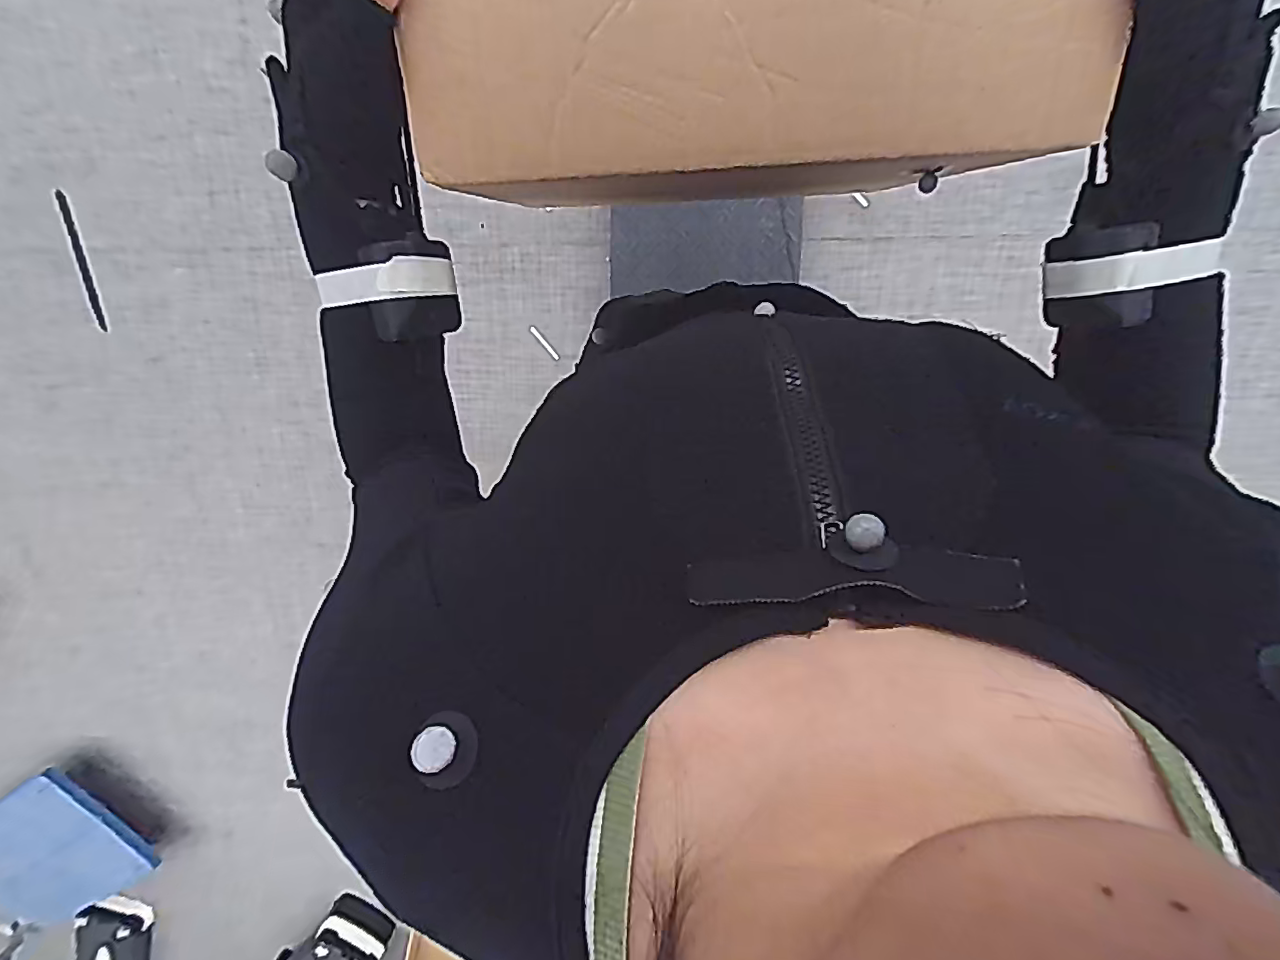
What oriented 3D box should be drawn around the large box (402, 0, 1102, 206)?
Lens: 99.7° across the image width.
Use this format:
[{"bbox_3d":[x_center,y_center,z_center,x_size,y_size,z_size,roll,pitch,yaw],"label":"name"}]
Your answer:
[{"bbox_3d":[0.062,-0.397,0.412,0.408,0.320,0.320,-2,114,2],"label":"large box"}]
